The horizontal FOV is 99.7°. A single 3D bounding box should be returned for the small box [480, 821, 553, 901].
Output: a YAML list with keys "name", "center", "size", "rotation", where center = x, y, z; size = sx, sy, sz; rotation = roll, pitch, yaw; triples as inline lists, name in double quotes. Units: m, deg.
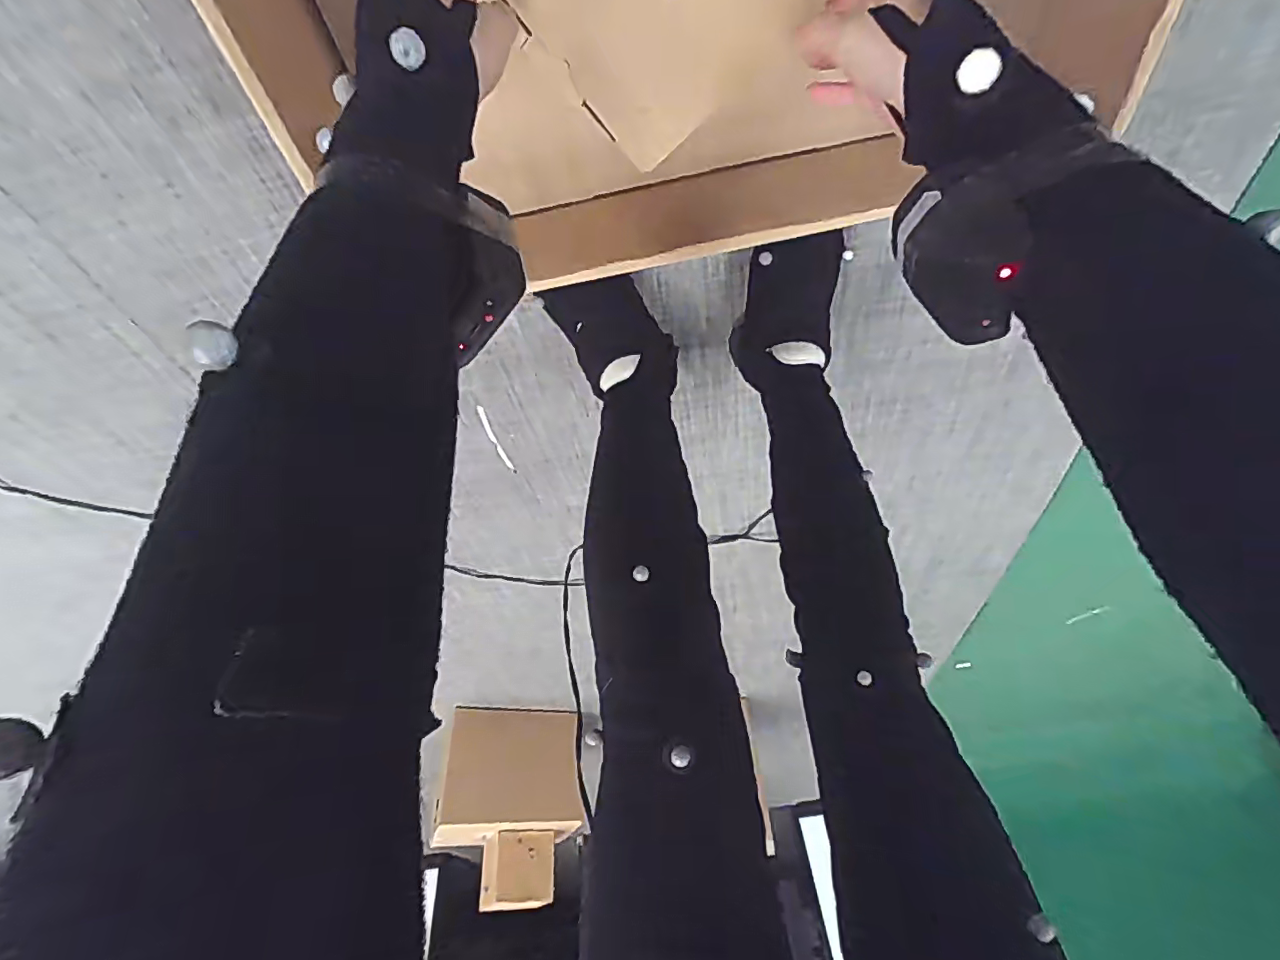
- name: "small box"
  center: [-0.351, 1.098, 1.556]
  size: [0.168, 0.176, 0.179]
  rotation: [14, 136, -21]

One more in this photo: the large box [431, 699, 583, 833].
- name: "large box"
  center: [-0.409, 0.903, 1.697]
  size: [0.408, 0.320, 0.320]
  rotation: [11, 135, -17]
